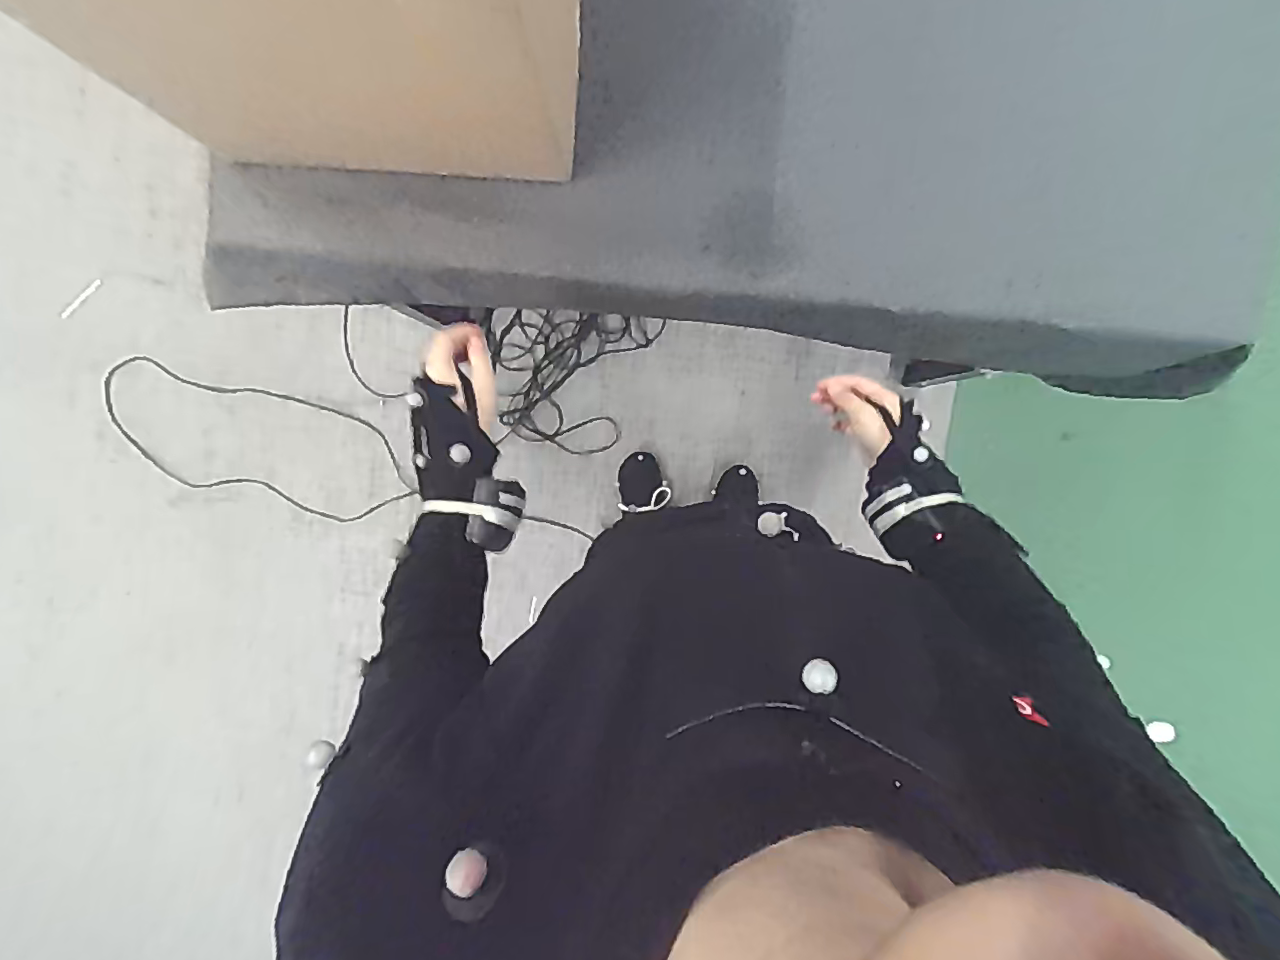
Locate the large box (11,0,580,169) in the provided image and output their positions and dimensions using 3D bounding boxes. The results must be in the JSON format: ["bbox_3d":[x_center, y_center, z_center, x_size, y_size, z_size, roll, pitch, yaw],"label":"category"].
[{"bbox_3d":[-0.266,-0.499,0.455,0.408,0.320,0.320,3,95,-1],"label":"large box"}]
